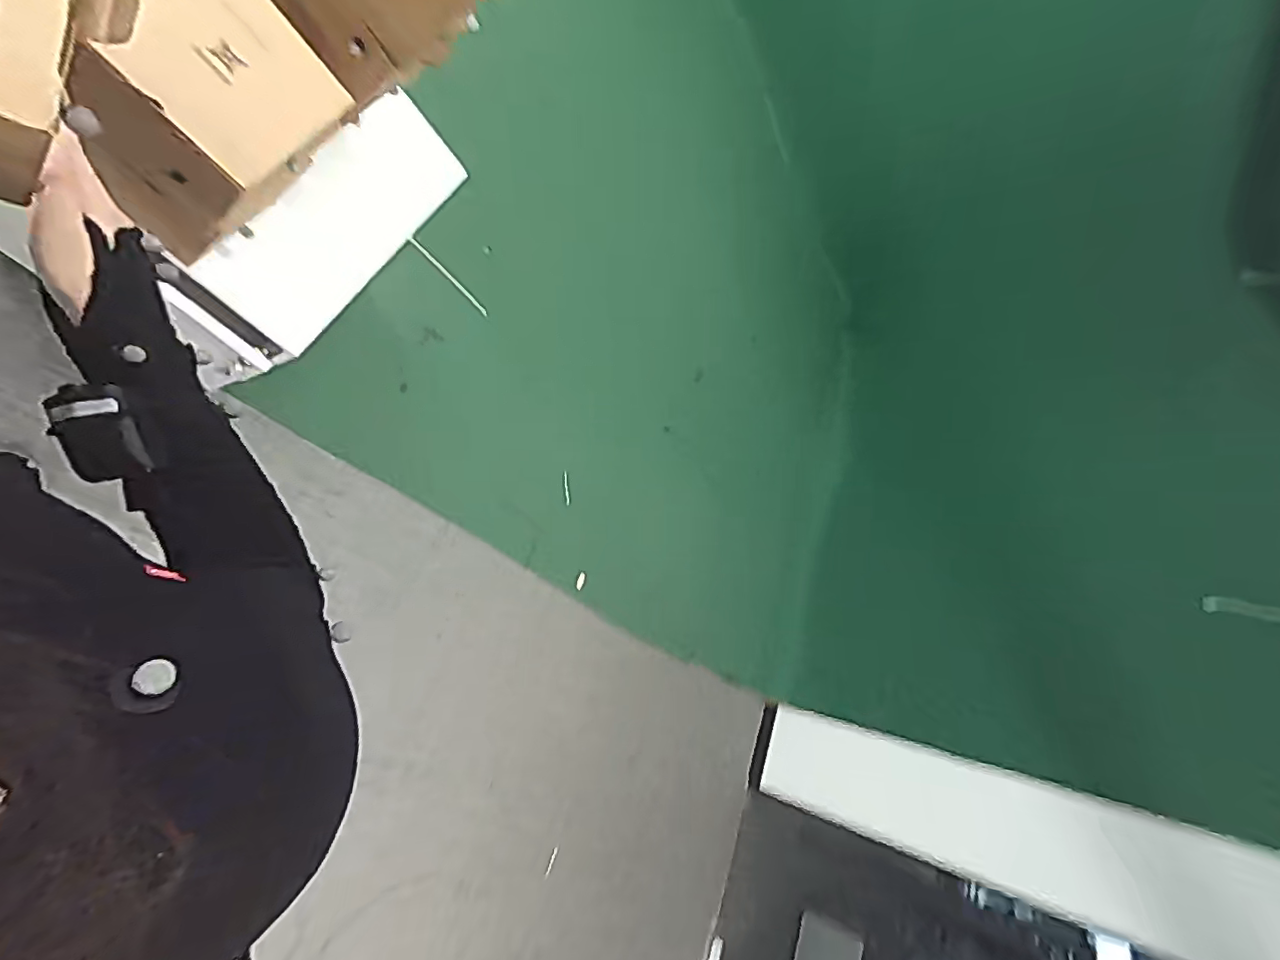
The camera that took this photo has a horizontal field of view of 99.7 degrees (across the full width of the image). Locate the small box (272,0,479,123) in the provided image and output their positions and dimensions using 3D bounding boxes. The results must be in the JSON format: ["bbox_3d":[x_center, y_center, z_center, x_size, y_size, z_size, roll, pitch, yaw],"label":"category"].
[{"bbox_3d":[-0.345,-0.589,0.663,0.179,0.176,0.168,53,53,-38],"label":"small box"}]

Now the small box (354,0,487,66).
[{"bbox_3d":[-0.224,-0.584,0.551,0.179,0.176,0.168,45,59,-41],"label":"small box"}]

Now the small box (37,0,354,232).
[{"bbox_3d":[-0.444,-0.388,0.550,0.168,0.176,0.179,49,55,-40],"label":"small box"}]

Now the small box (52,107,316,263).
[{"bbox_3d":[-0.557,-0.401,0.666,0.179,0.176,0.168,52,53,-38],"label":"small box"}]
